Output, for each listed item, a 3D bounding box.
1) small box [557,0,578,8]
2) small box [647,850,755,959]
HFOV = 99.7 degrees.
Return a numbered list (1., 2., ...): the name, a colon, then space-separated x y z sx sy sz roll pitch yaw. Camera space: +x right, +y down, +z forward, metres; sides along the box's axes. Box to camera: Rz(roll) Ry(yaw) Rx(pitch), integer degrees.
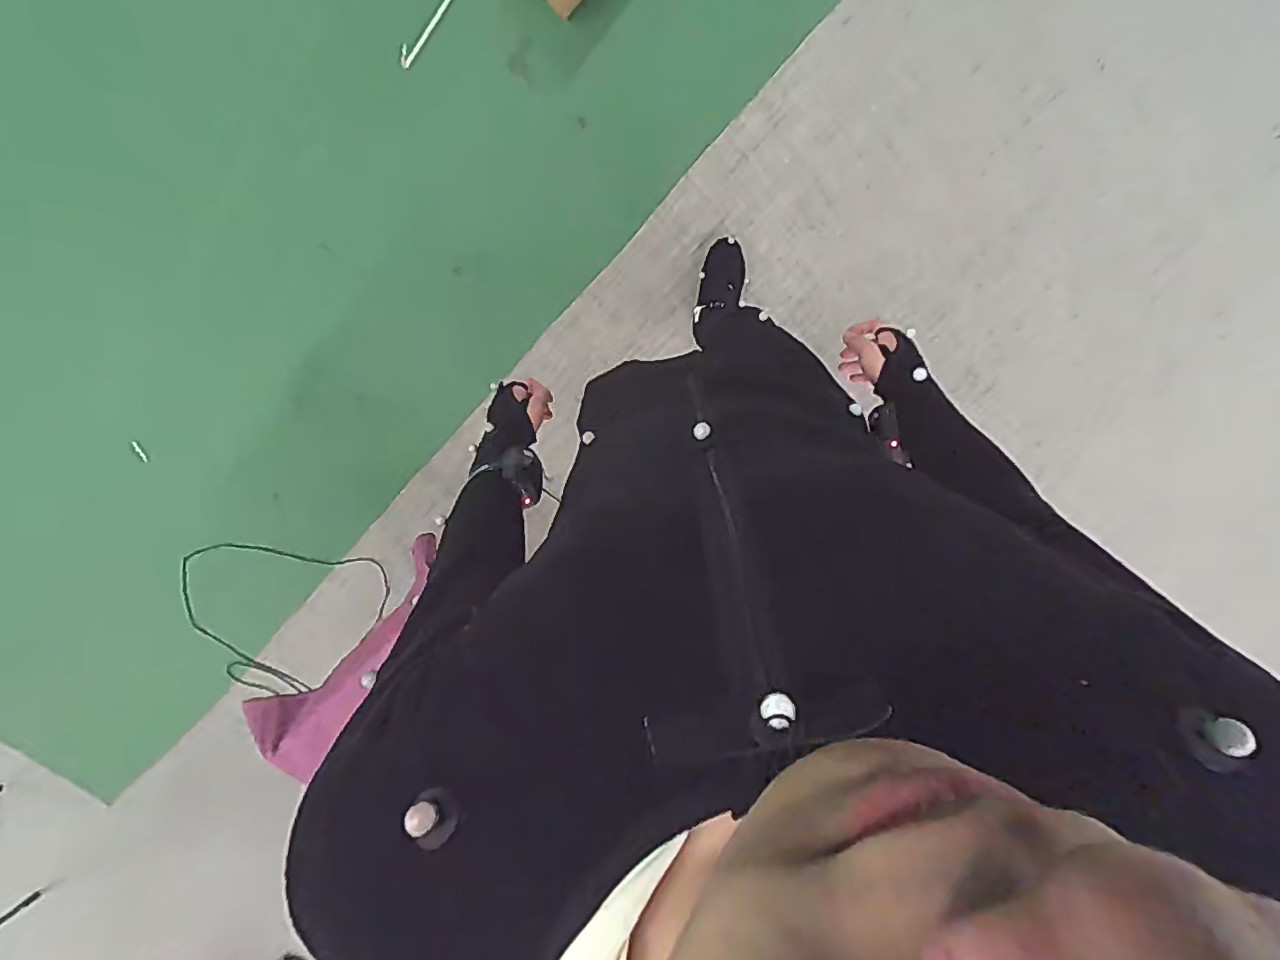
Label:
1. small box: -0.171 -1.152 1.125 0.168 0.176 0.179 -40 105 18
2. small box: 0.132 0.990 1.229 0.168 0.176 0.179 41 110 -13
